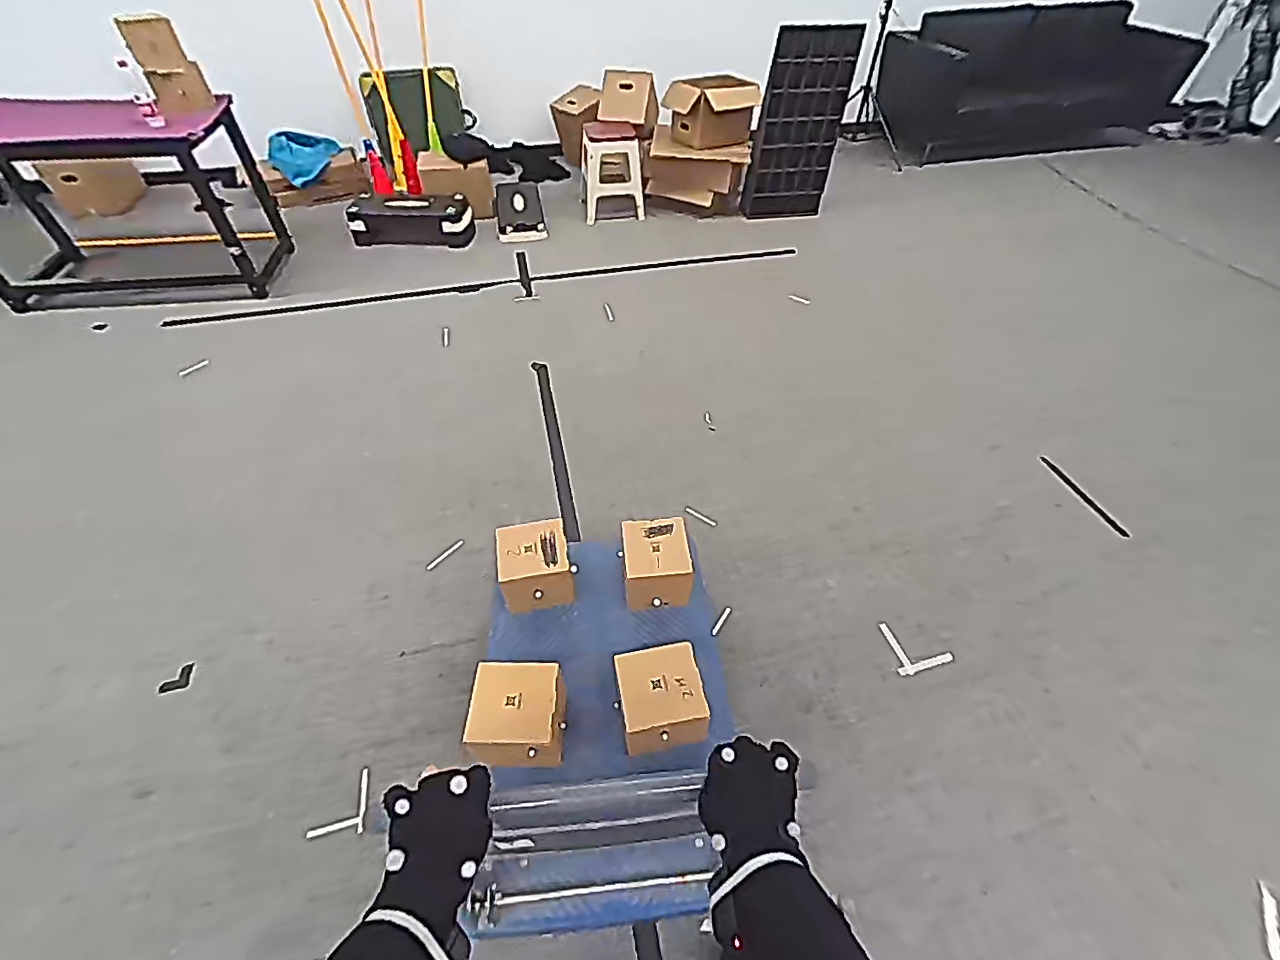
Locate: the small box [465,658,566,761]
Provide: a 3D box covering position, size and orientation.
[{"bbox_3d":[-0.263,0.506,1.186,0.179,0.176,0.168,1,48,-1],"label":"small box"}]

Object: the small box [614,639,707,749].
[{"bbox_3d":[0.042,0.482,1.208,0.179,0.176,0.168,-8,49,-7],"label":"small box"}]

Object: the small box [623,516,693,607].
[{"bbox_3d":[0.041,0.219,1.444,0.168,0.176,0.179,-4,49,-4],"label":"small box"}]
